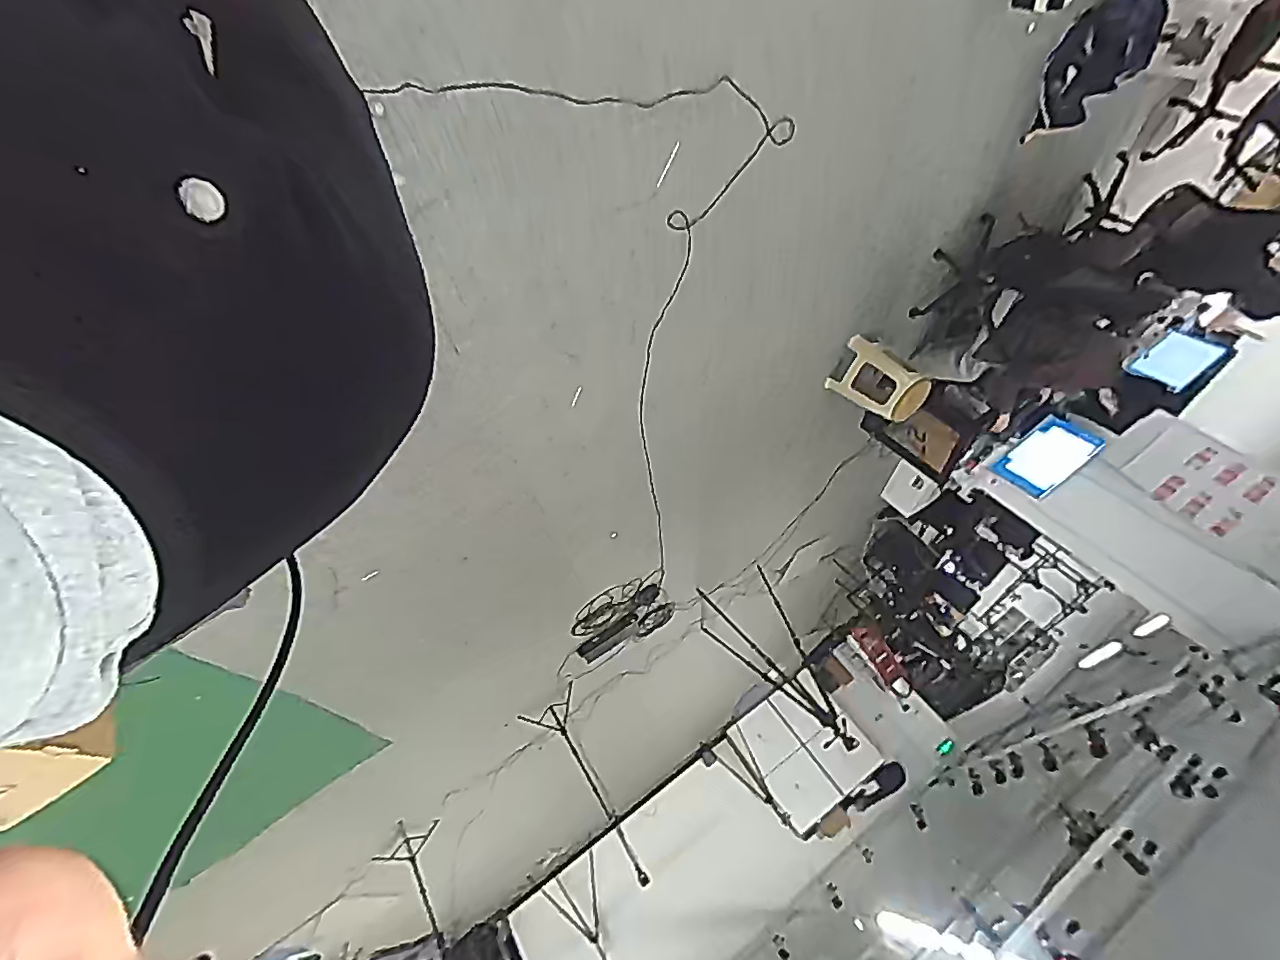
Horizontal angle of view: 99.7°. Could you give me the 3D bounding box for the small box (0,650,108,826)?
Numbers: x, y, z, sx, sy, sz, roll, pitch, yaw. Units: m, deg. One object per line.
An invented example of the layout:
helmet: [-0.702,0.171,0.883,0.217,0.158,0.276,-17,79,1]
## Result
small box: [-0.974,0.388,0.816,0.179,0.176,0.168,-36,147,-11]
